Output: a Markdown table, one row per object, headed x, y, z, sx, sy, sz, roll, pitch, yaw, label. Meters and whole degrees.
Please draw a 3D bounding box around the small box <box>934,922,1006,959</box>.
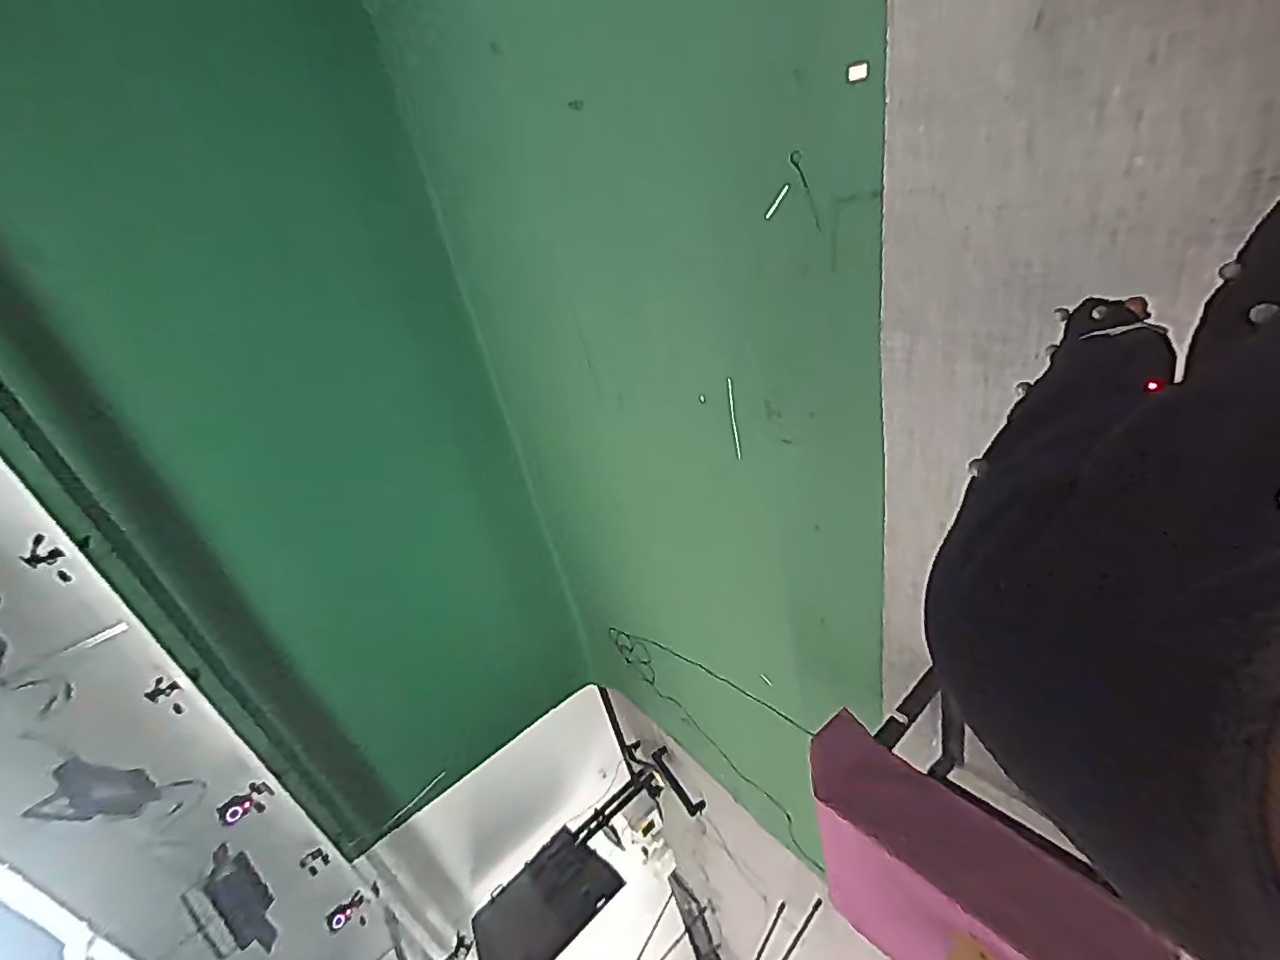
| x | y | z | sx | sy | sz | roll | pitch | yaw | label |
| --- | --- | --- | --- | --- | --- | --- | --- | --- | --- |
| 0.798 | 1.218 | 1.284 | 0.168 | 0.176 | 0.179 | 19 | 131 | 50 | small box |
